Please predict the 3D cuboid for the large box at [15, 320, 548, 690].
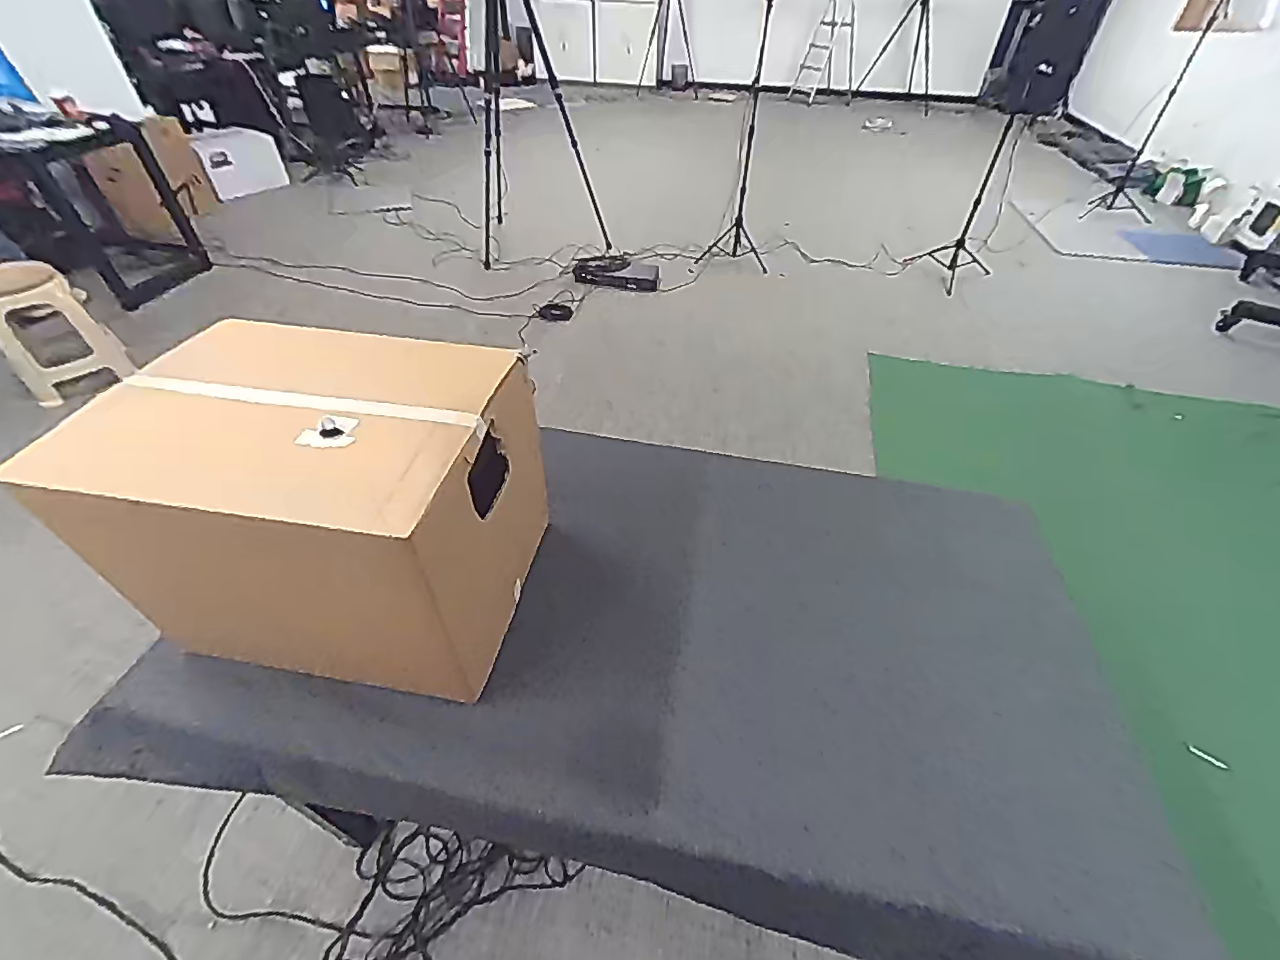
[{"bbox_3d":[-0.358,0.027,0.683,0.408,0.320,0.320,8,44,4],"label":"large box"}]
